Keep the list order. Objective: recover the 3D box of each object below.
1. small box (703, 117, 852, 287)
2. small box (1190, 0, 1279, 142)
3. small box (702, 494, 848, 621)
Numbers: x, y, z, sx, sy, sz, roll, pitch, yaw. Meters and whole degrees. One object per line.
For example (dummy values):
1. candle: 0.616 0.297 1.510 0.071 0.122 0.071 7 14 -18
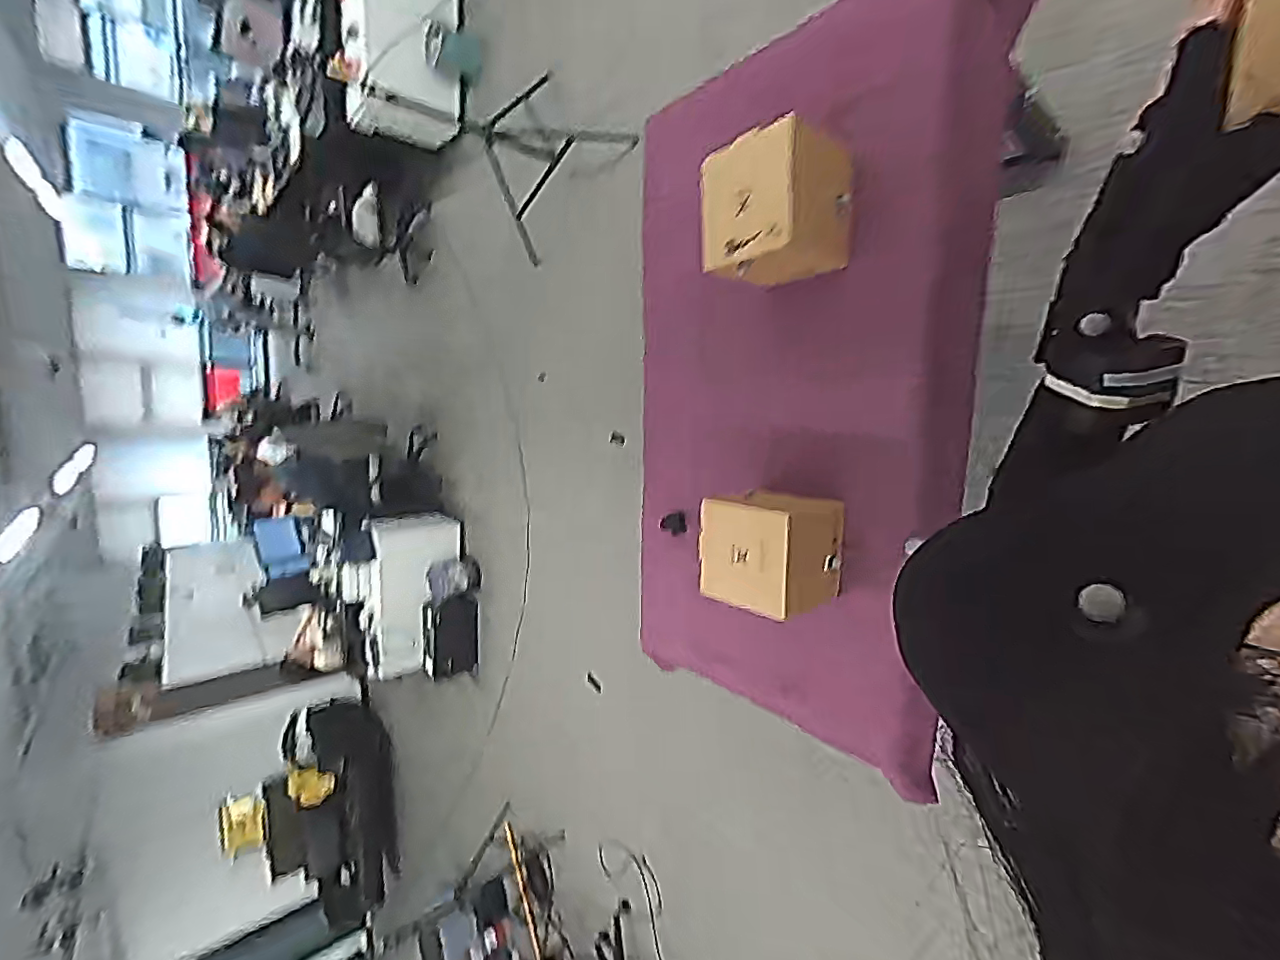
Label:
1. small box: 0.218 -0.422 0.856 0.168 0.176 0.179 5 98 50
2. small box: 0.421 -0.301 0.278 0.168 0.176 0.179 4 114 37
3. small box: 0.225 0.118 0.911 0.179 0.176 0.168 7 100 49
